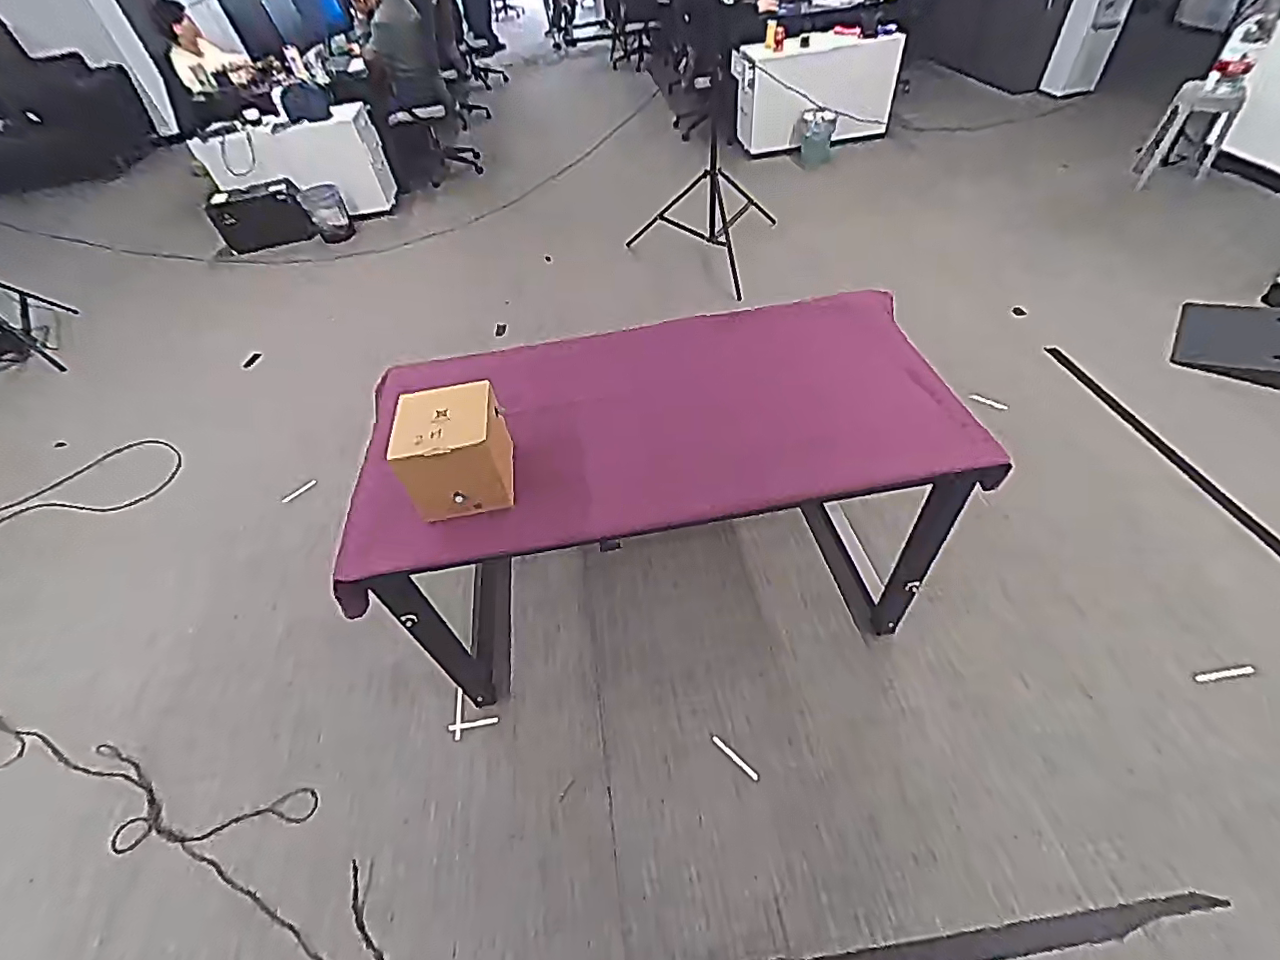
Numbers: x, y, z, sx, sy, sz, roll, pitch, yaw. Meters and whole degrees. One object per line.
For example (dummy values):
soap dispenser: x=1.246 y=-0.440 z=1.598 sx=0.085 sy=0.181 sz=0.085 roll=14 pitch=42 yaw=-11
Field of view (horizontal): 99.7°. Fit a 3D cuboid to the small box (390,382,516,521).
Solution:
small box: x=-0.332 y=-0.051 z=0.995 sx=0.168 sy=0.176 sz=0.179 roll=-11 pitch=47 yaw=-2
